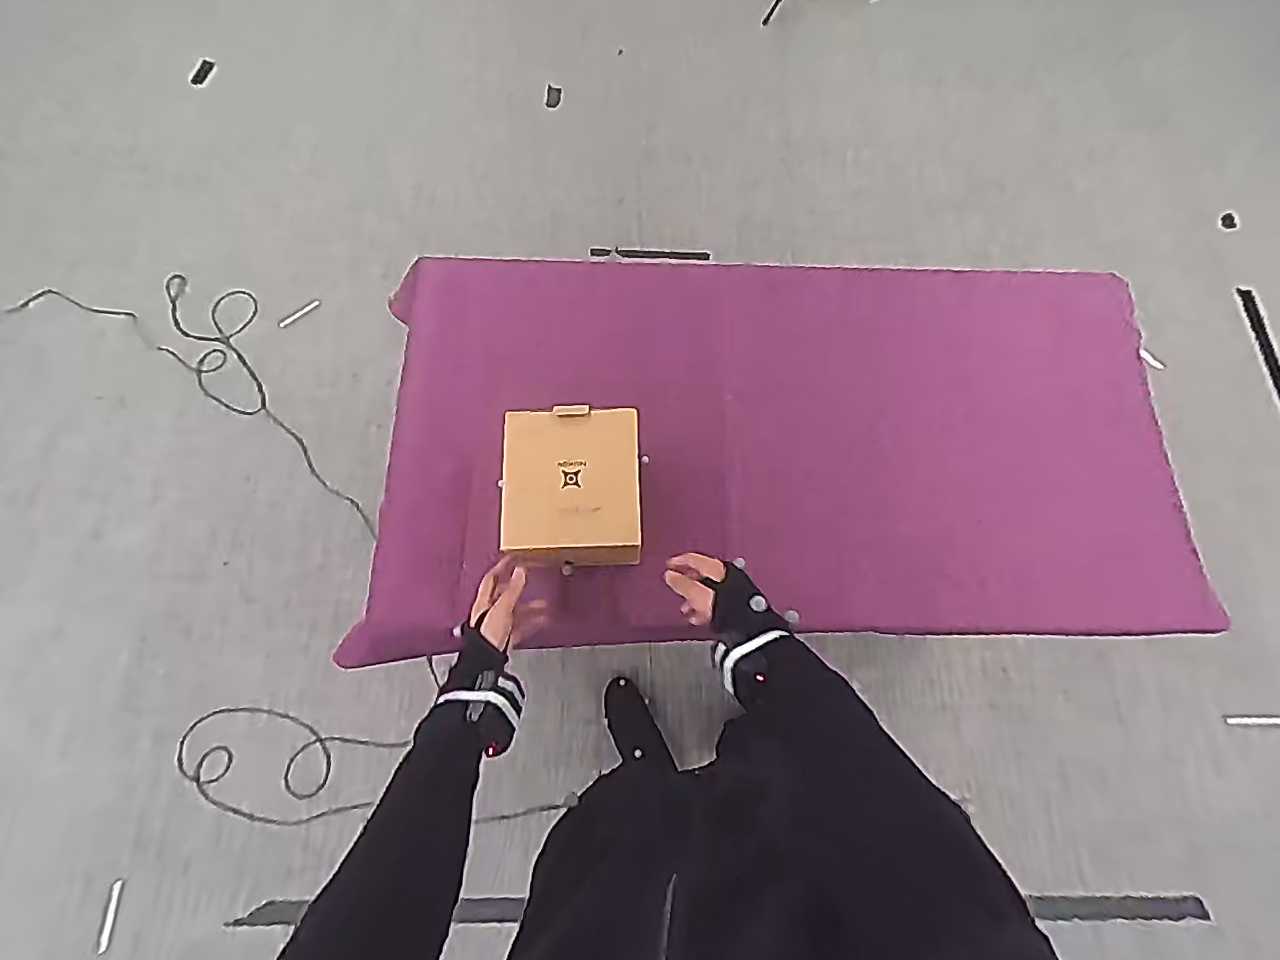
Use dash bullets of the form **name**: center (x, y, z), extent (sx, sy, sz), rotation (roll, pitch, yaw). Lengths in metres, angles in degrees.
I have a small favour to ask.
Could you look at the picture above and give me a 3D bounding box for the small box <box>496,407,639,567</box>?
- **small box**: center (-0.086, 0.016, 0.719), extent (0.168, 0.176, 0.179), rotation (0, 74, -1)
